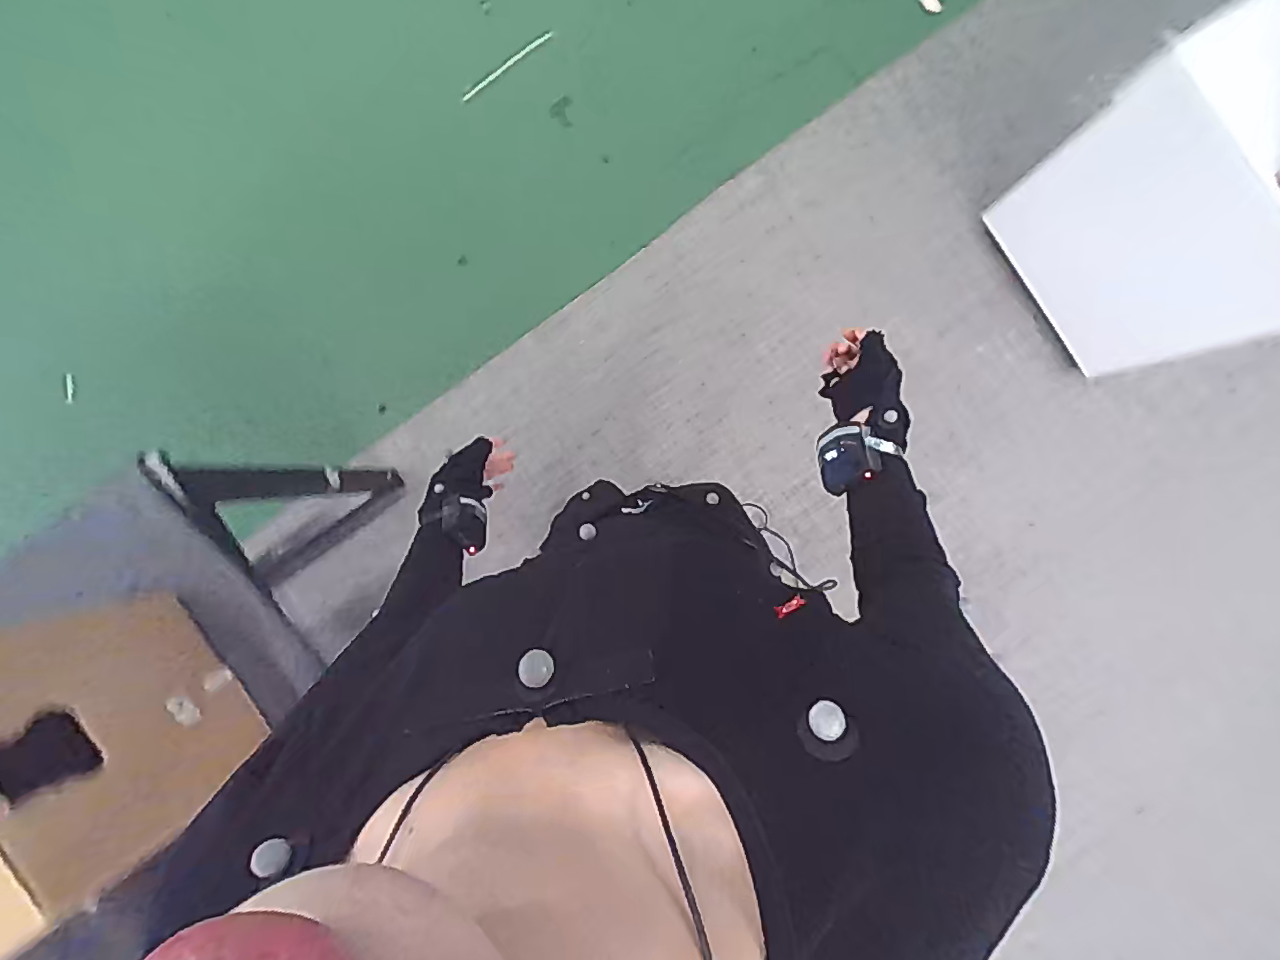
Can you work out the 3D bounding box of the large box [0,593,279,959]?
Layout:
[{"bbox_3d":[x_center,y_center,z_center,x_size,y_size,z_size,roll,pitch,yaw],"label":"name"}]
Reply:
[{"bbox_3d":[-0.791,0.409,0.682,0.408,0.320,0.320,-36,89,4],"label":"large box"}]
